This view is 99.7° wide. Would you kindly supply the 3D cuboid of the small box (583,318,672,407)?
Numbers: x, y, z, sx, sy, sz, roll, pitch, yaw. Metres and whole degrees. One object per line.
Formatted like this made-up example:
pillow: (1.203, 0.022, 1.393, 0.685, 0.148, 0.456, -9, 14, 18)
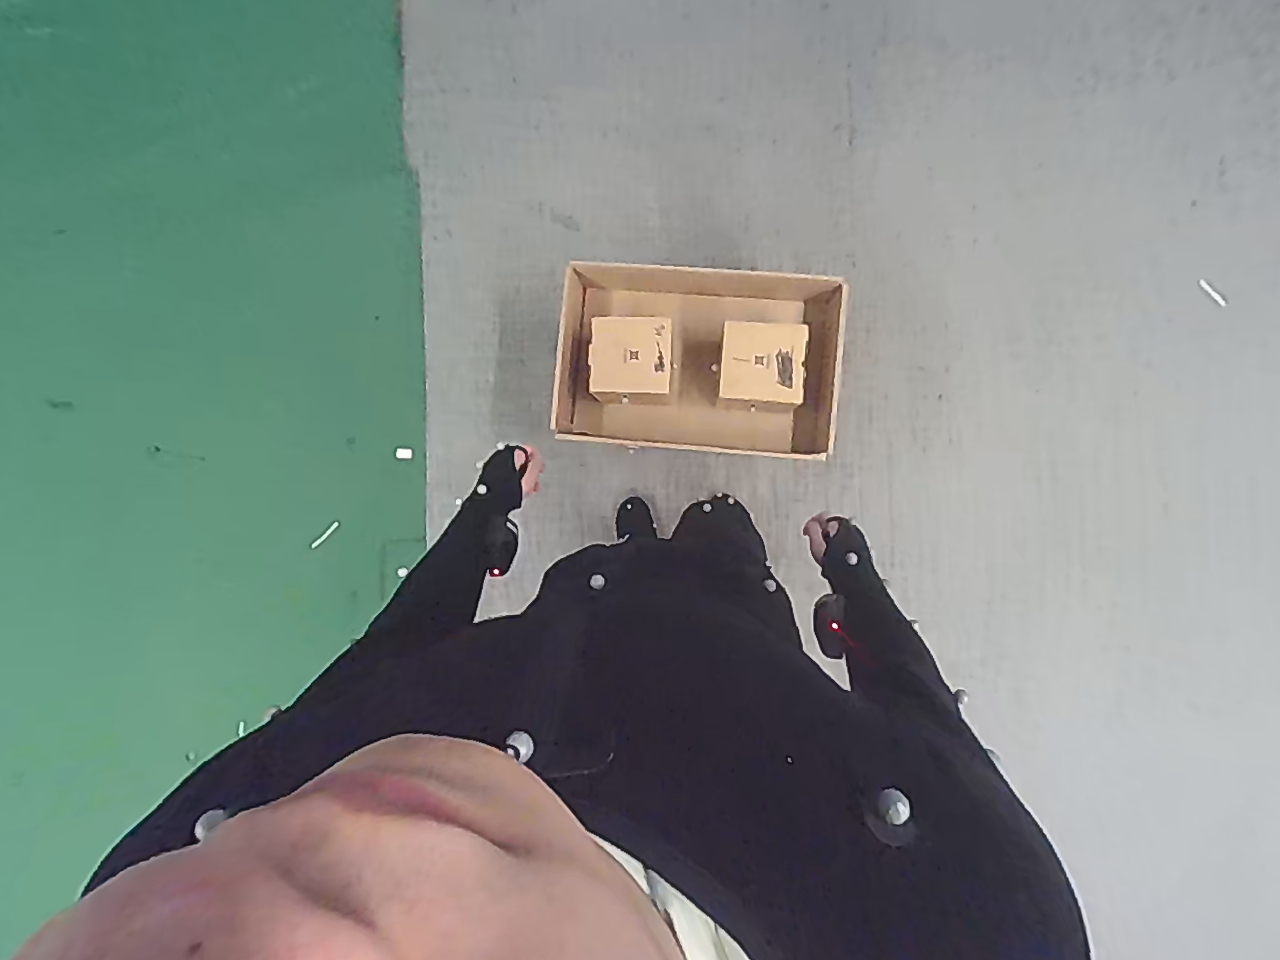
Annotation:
small box: (-0.022, -0.260, 1.227, 0.179, 0.176, 0.168, 3, 90, 5)
